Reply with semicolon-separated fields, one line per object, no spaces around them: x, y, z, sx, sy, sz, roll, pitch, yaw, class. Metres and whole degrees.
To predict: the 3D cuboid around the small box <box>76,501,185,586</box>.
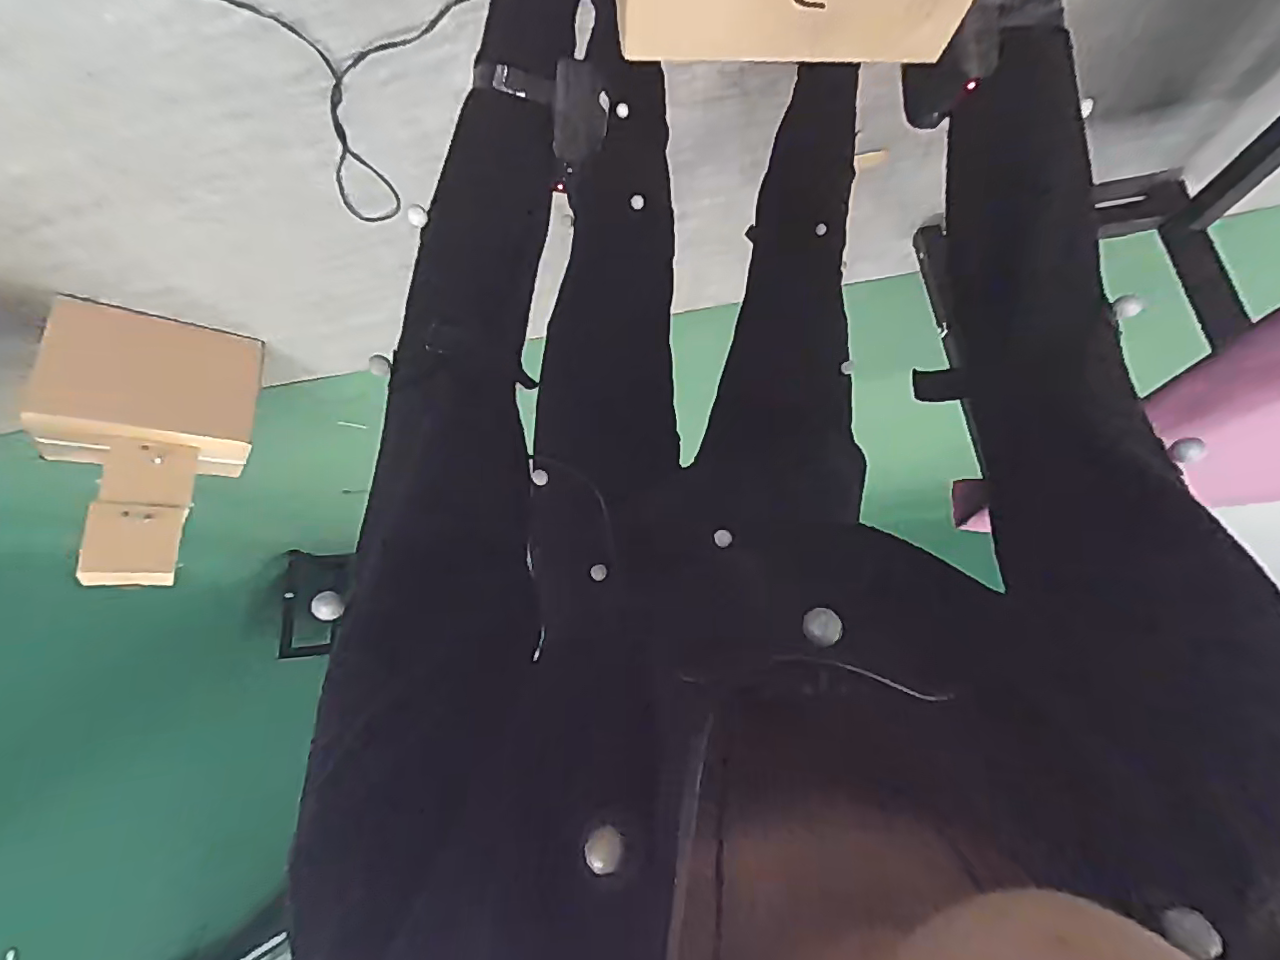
-1.218;0.158;1.302;0.168;0.176;0.179;9;157;-40;small box

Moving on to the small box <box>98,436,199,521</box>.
-1.233;0.007;1.360;0.168;0.176;0.179;12;155;-42;small box
